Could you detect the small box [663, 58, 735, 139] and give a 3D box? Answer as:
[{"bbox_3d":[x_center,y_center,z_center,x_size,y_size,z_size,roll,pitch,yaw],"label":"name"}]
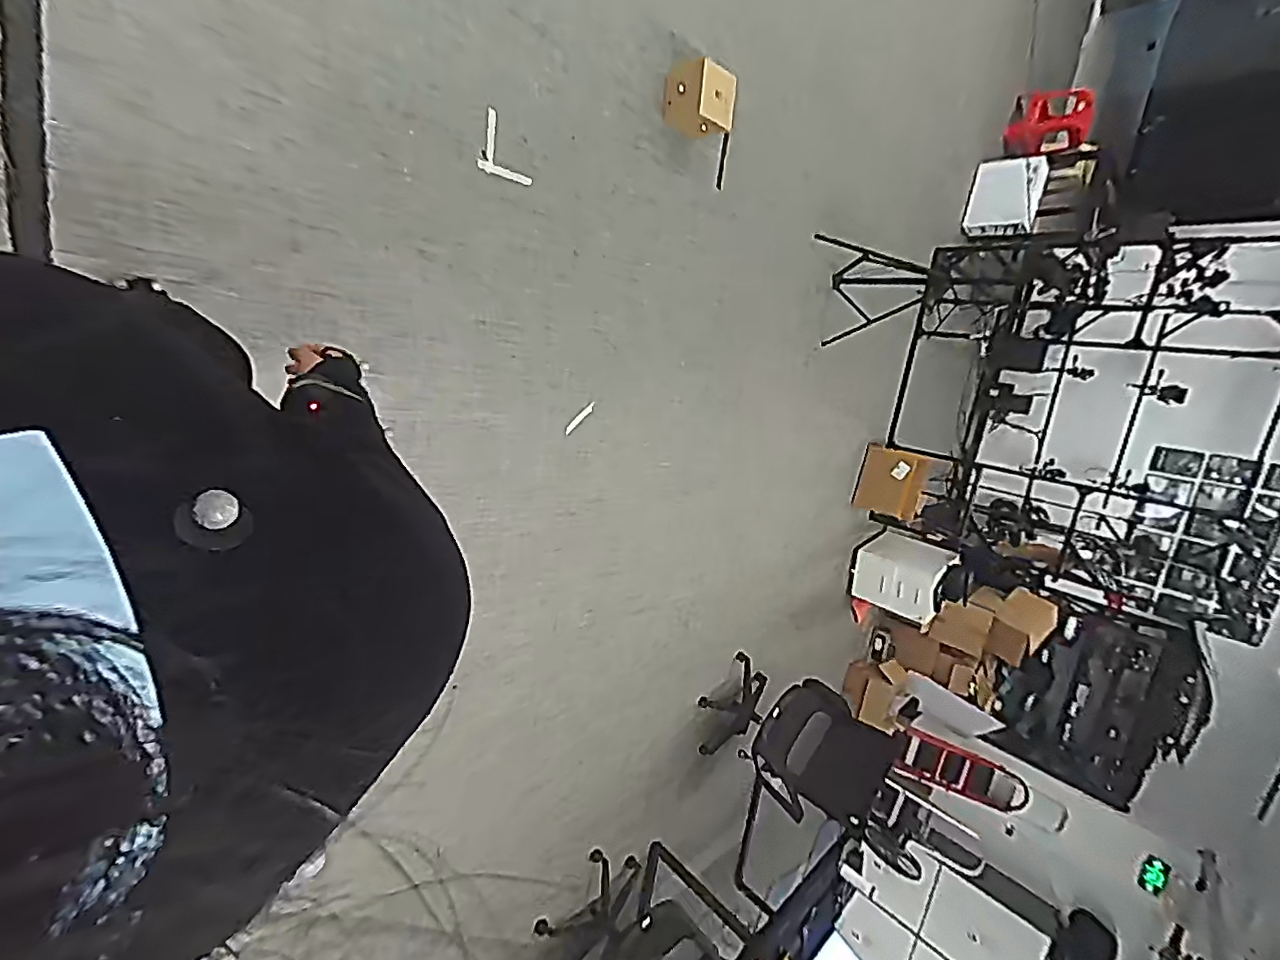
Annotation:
[{"bbox_3d":[0.200,-1.303,1.863,0.179,0.176,0.168,-8,111,-45],"label":"small box"}]
